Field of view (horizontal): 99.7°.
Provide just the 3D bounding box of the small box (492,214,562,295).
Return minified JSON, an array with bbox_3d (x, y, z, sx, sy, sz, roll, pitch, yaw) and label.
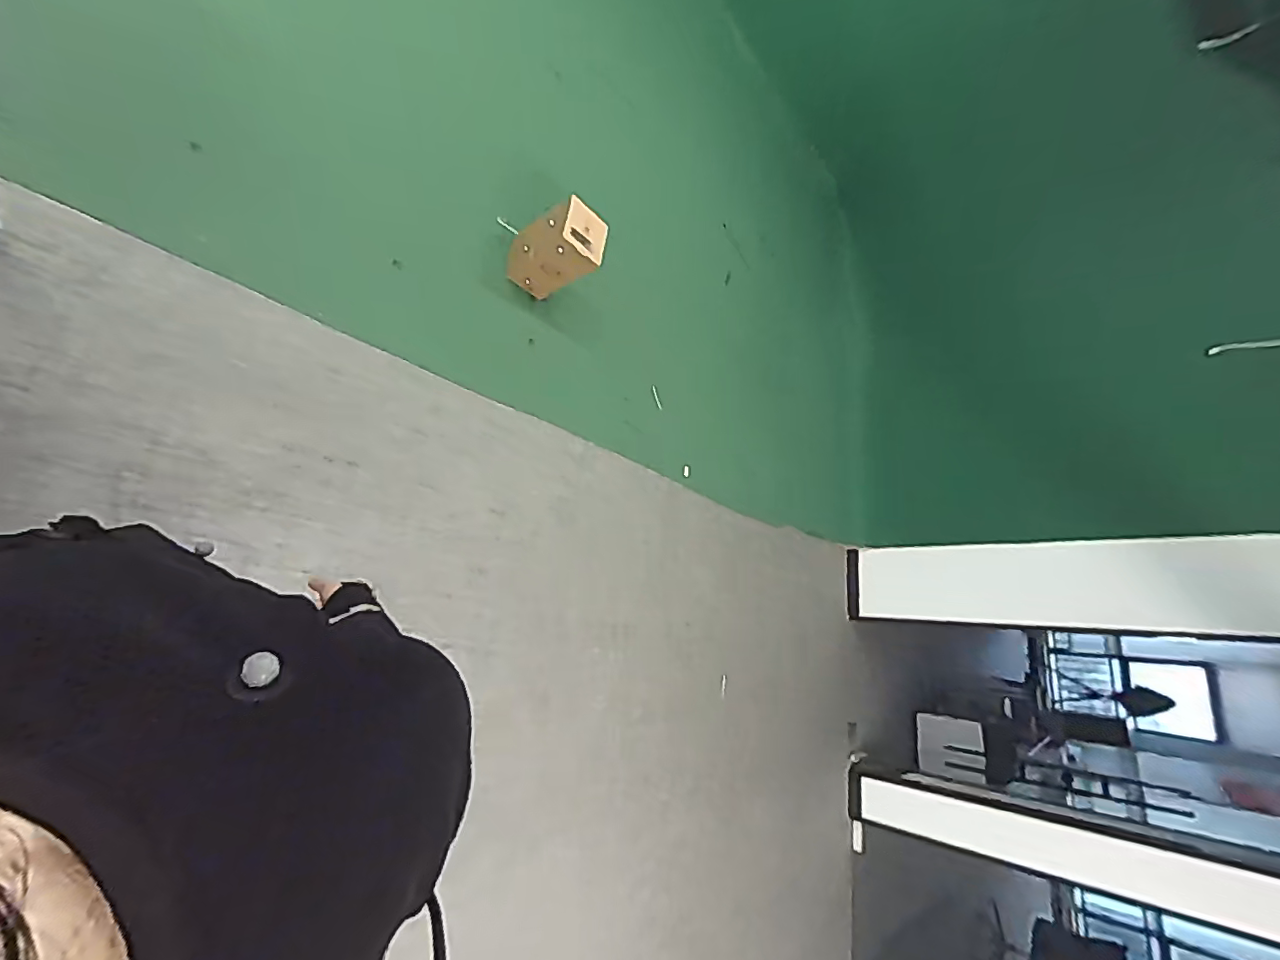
[{"bbox_3d":[-0.407,-0.801,1.934,0.168,0.176,0.179,28,64,-43],"label":"small box"}]
